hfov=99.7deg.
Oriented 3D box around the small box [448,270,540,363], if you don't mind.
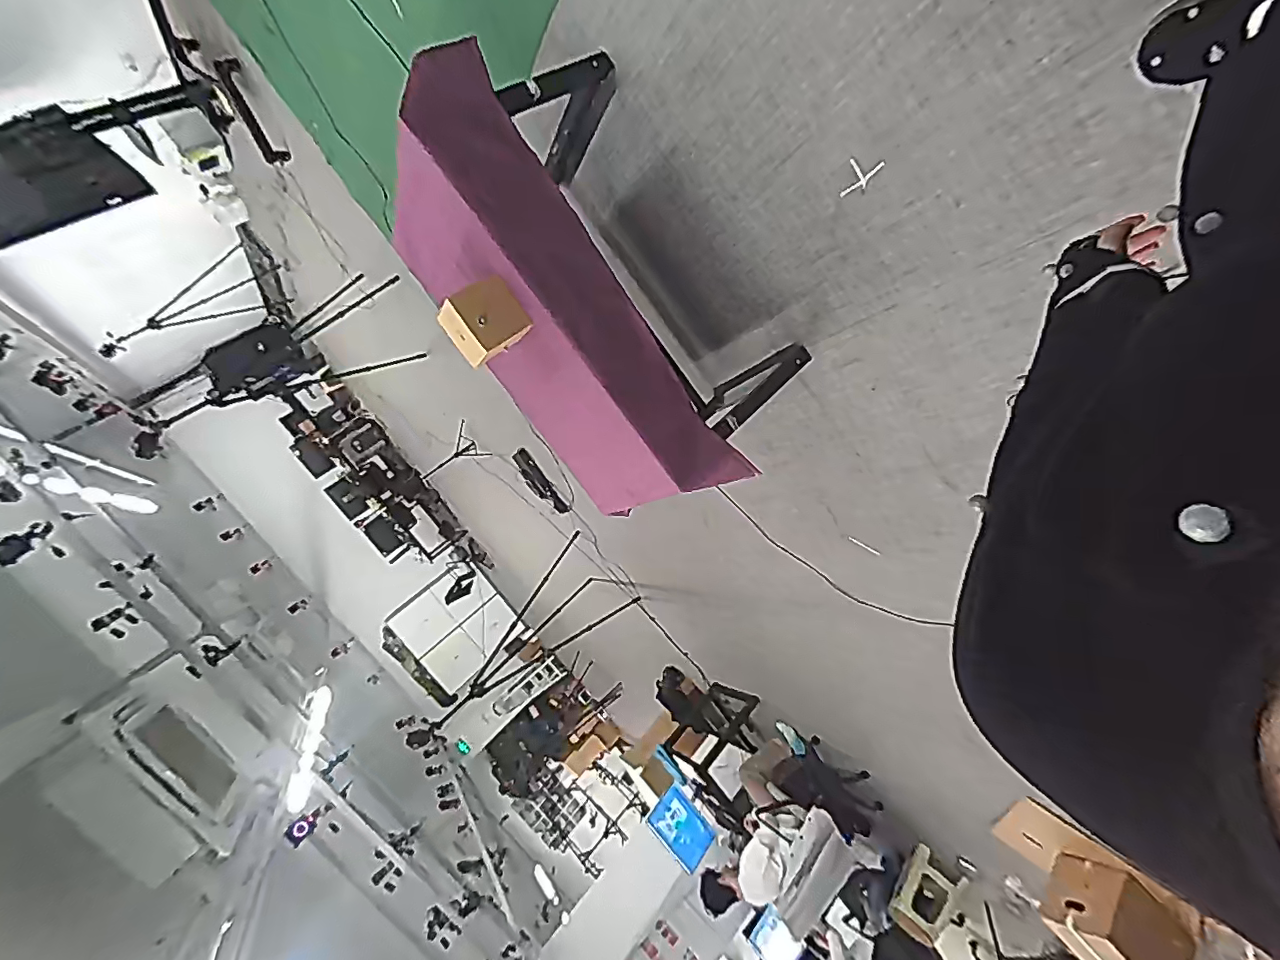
[{"bbox_3d":[-0.418,-0.470,1.557,0.179,0.176,0.168,56,154,-13],"label":"small box"}]
